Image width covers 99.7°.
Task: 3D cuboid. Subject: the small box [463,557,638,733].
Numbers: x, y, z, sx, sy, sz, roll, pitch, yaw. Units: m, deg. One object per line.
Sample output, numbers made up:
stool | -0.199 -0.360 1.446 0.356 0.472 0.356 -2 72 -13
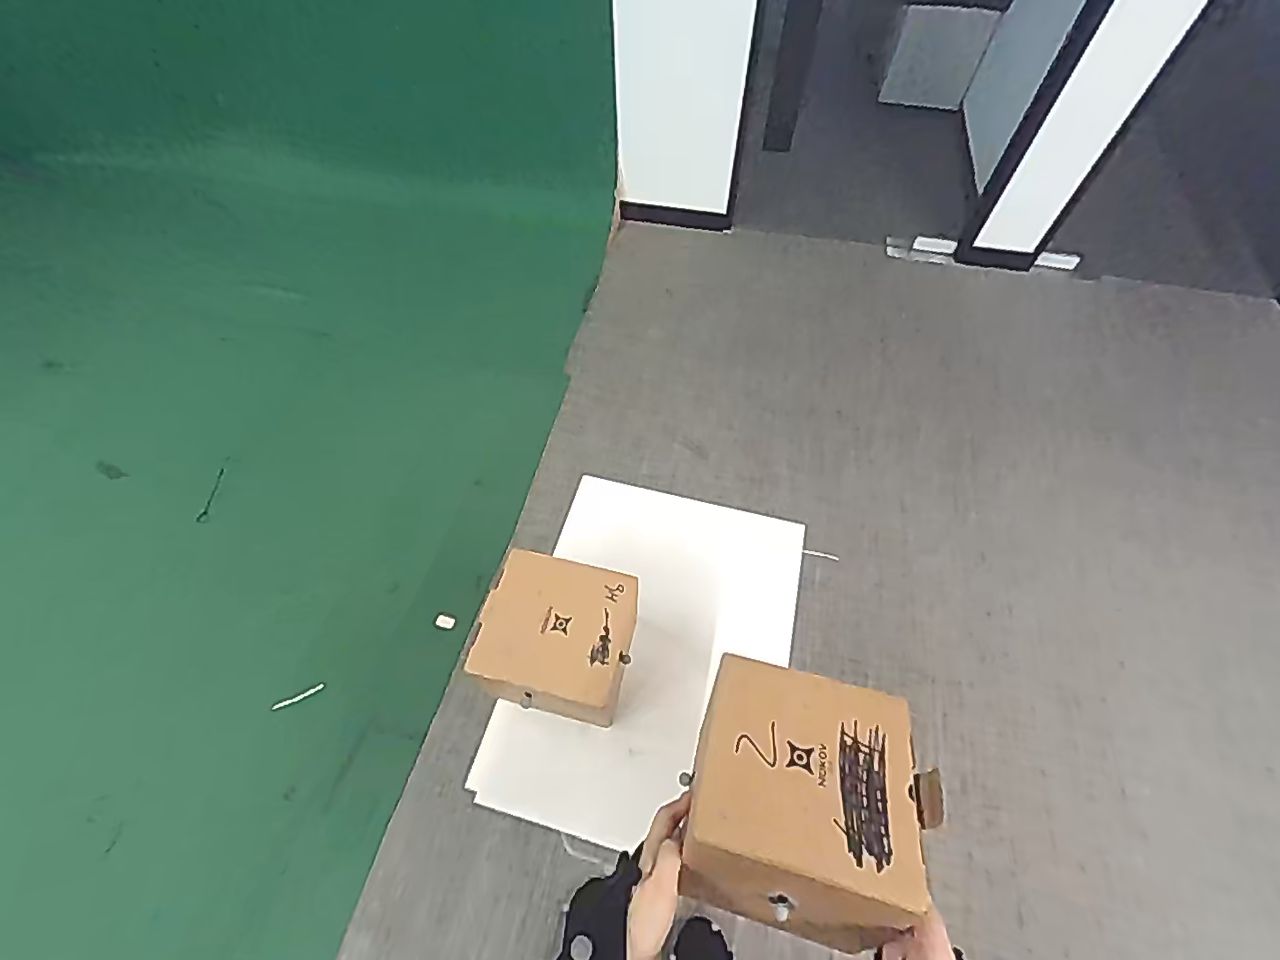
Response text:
small box | -0.106 0.228 0.728 0.179 0.176 0.168 12 59 7
